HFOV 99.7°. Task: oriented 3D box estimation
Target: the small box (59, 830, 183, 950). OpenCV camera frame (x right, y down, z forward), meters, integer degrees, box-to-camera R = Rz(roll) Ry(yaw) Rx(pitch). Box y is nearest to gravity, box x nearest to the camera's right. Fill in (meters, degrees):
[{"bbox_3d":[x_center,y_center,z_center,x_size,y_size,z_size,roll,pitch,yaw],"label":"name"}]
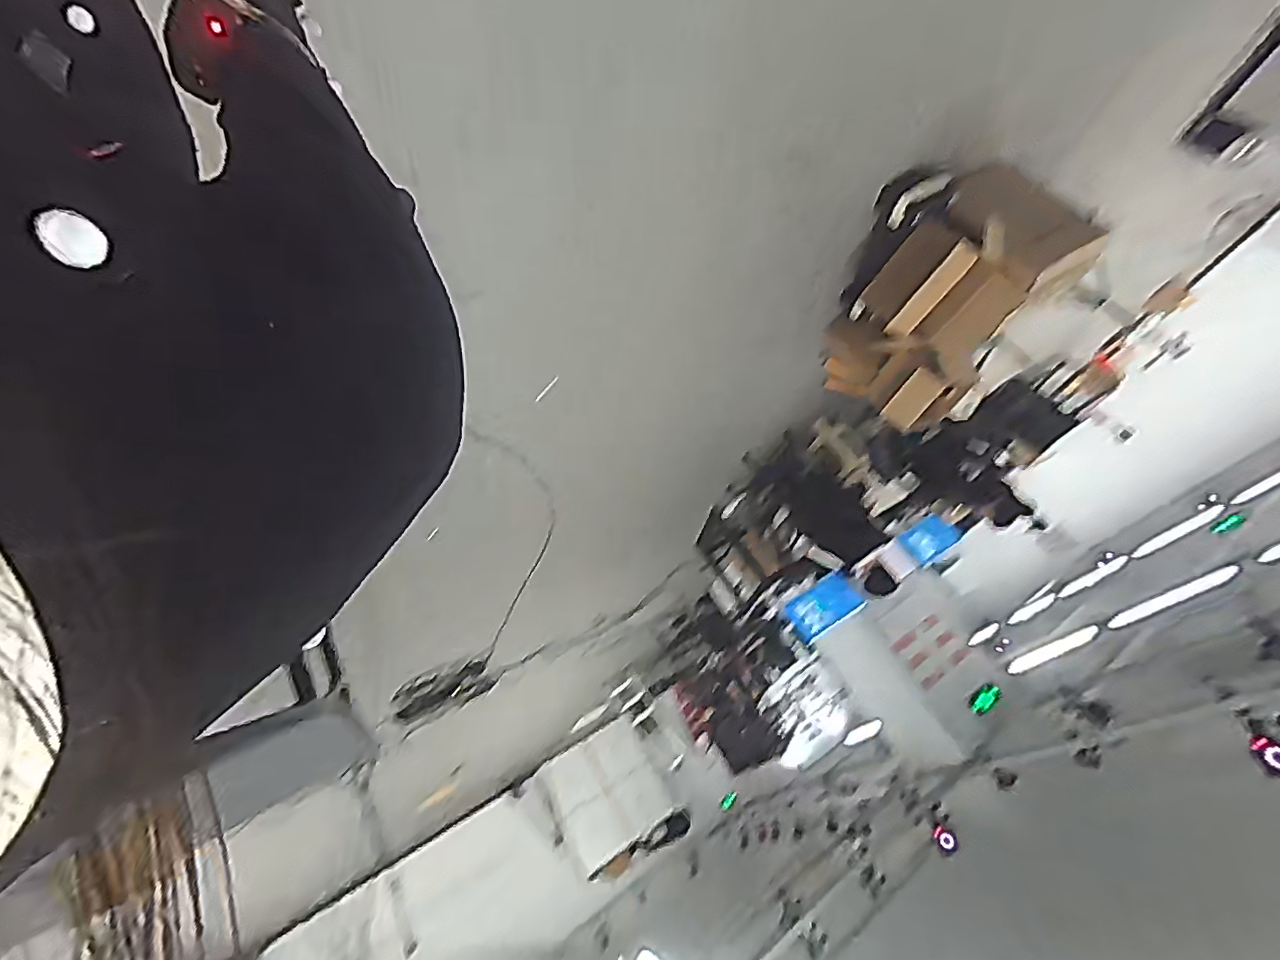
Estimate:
[{"bbox_3d":[-1.296,1.020,1.351,0.179,0.176,0.168,-23,152,-29],"label":"small box"}]
